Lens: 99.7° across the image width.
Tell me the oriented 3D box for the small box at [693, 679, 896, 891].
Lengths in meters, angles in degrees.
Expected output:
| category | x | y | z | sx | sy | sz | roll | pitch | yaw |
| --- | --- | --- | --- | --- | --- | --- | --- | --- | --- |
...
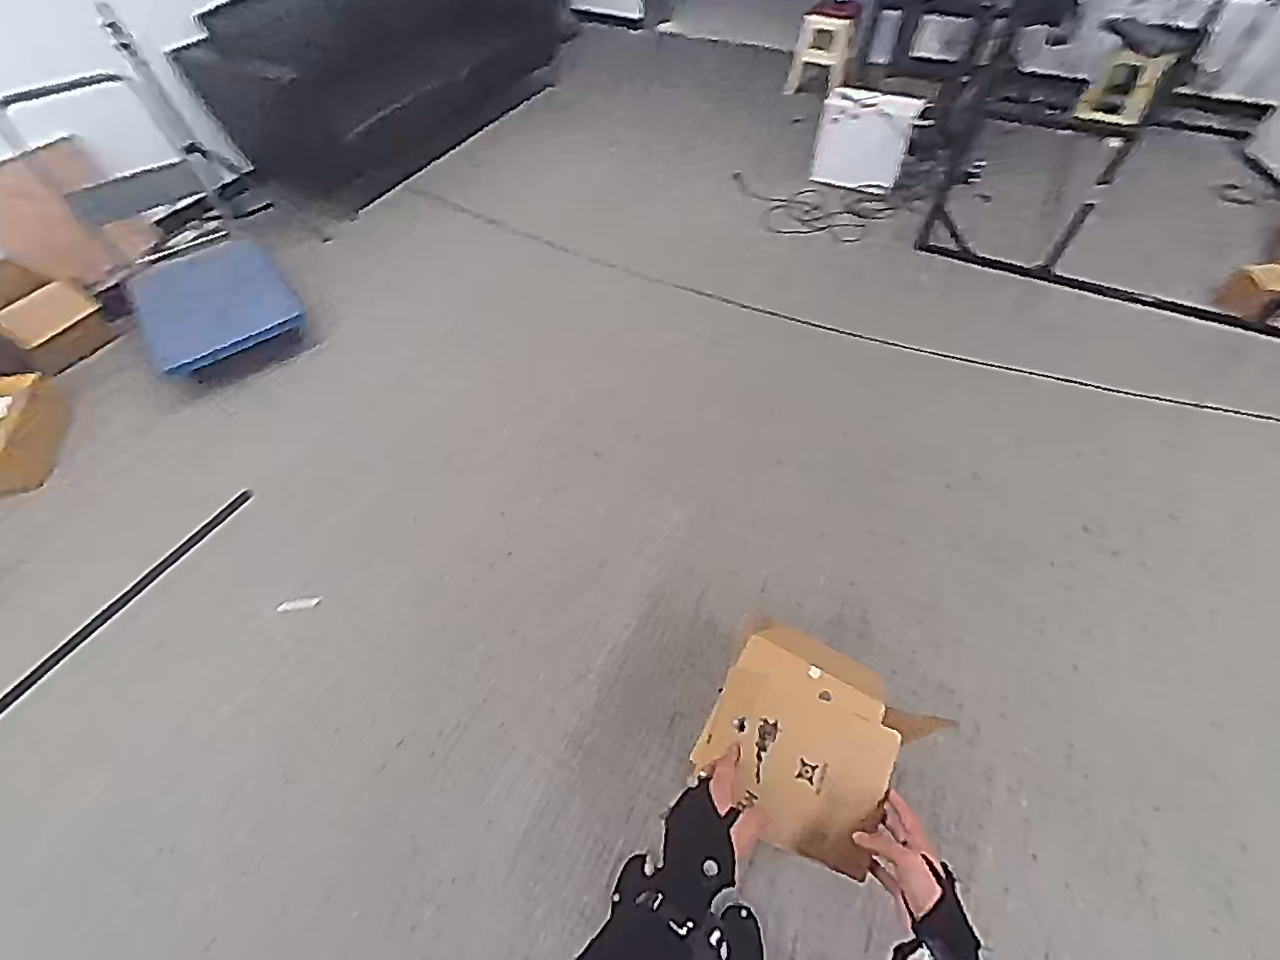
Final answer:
| category | x | y | z | sx | sy | sz | roll | pitch | yaw |
| --- | --- | --- | --- | --- | --- | --- | --- | --- | --- |
| small box | 0.187 | 0.372 | 0.699 | 0.179 | 0.176 | 0.168 | 23 | 74 | 1 |
